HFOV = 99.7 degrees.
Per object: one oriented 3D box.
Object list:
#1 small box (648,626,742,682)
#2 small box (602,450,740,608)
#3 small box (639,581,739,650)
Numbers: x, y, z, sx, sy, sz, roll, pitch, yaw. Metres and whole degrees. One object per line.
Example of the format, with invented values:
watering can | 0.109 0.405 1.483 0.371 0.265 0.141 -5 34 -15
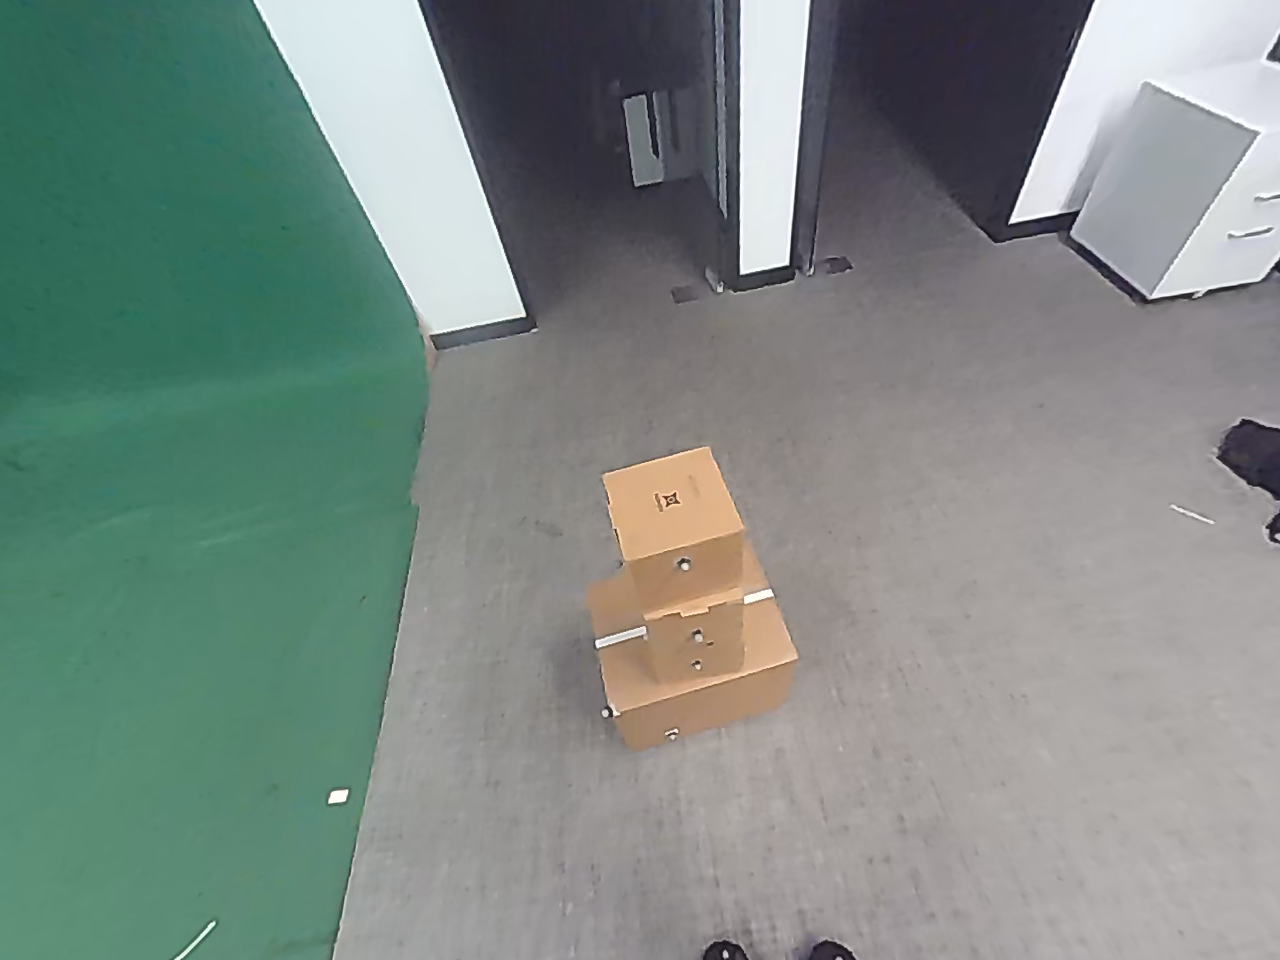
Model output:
small box | 0.104 0.295 1.106 0.179 0.176 0.168 -11 50 2
small box | 0.051 0.083 0.865 0.179 0.176 0.168 -15 51 -3
small box | 0.082 0.194 0.981 0.168 0.176 0.179 -11 51 1
